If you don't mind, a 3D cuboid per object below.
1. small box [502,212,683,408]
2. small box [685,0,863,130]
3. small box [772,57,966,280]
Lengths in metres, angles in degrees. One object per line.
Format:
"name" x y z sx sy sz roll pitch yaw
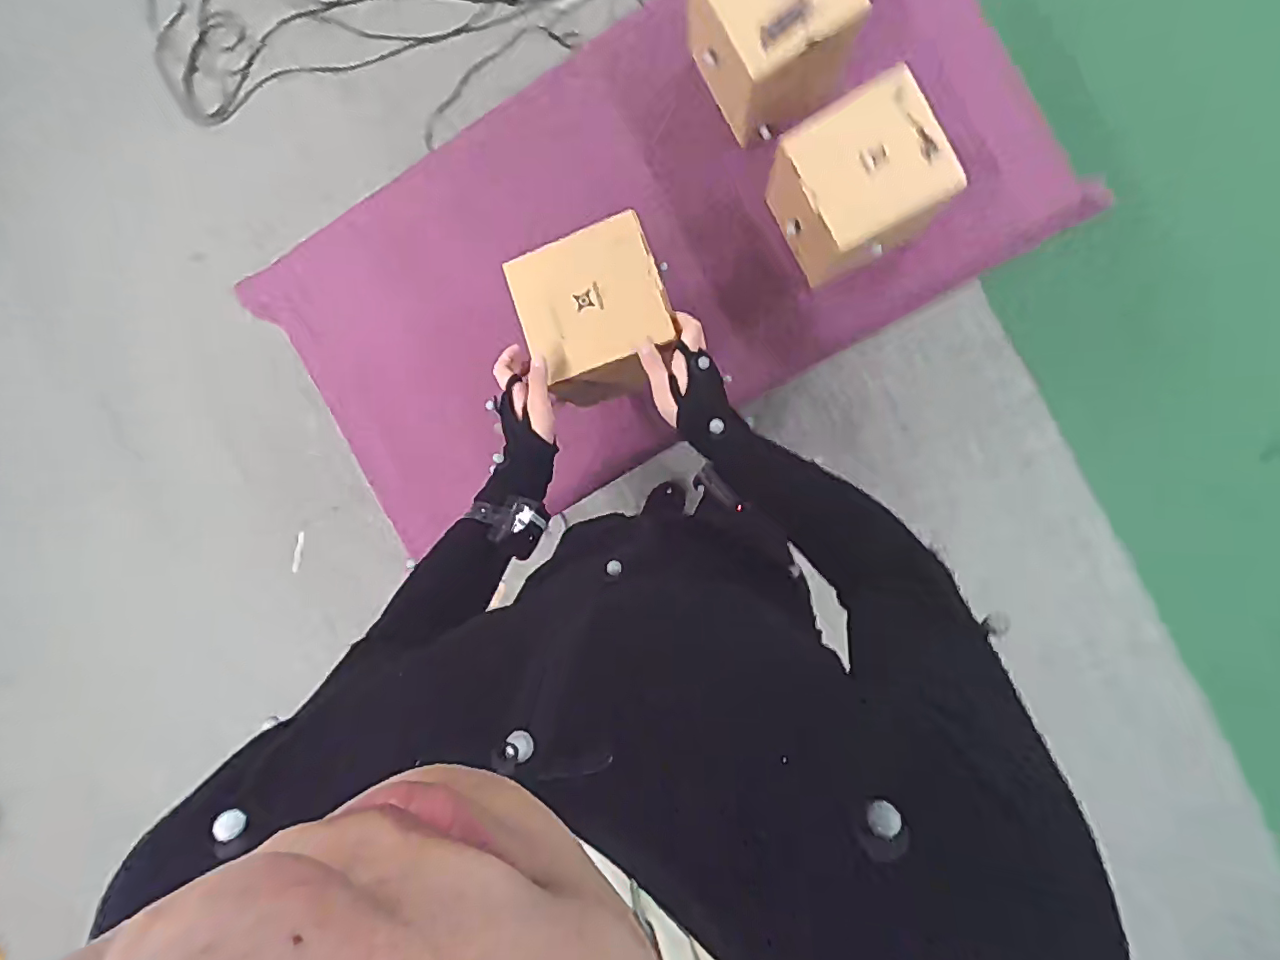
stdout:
"small box" -0.049 -0.206 0.705 0.179 0.176 0.168 -17 85 11
"small box" 0.172 -0.626 0.741 0.168 0.176 0.179 -29 90 8
"small box" 0.294 -0.406 0.742 0.179 0.176 0.168 -28 90 9
